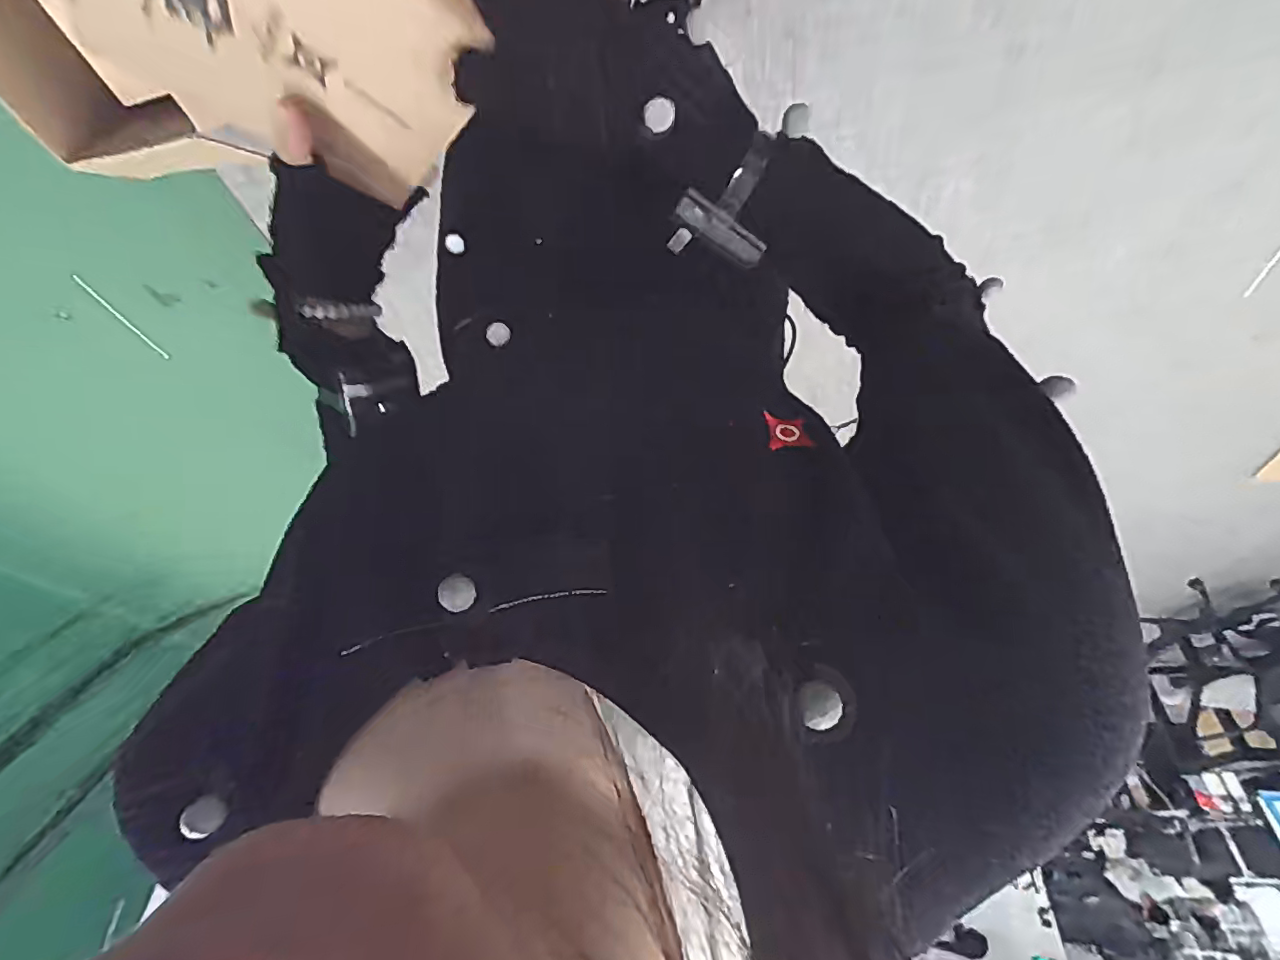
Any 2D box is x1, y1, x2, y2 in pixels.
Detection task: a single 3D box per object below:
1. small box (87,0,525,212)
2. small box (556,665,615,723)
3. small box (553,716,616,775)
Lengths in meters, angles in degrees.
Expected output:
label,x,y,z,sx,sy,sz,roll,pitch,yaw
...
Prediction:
label,x,y,z,sx,sy,sz,roll,pitch,yaw
small box,-0.183,-0.312,0.321,0.179,0.176,0.168,16,161,-42
small box,-0.190,0.775,1.947,0.168,0.176,0.179,-6,144,11
small box,-0.183,0.914,1.862,0.179,0.176,0.168,-6,145,12
